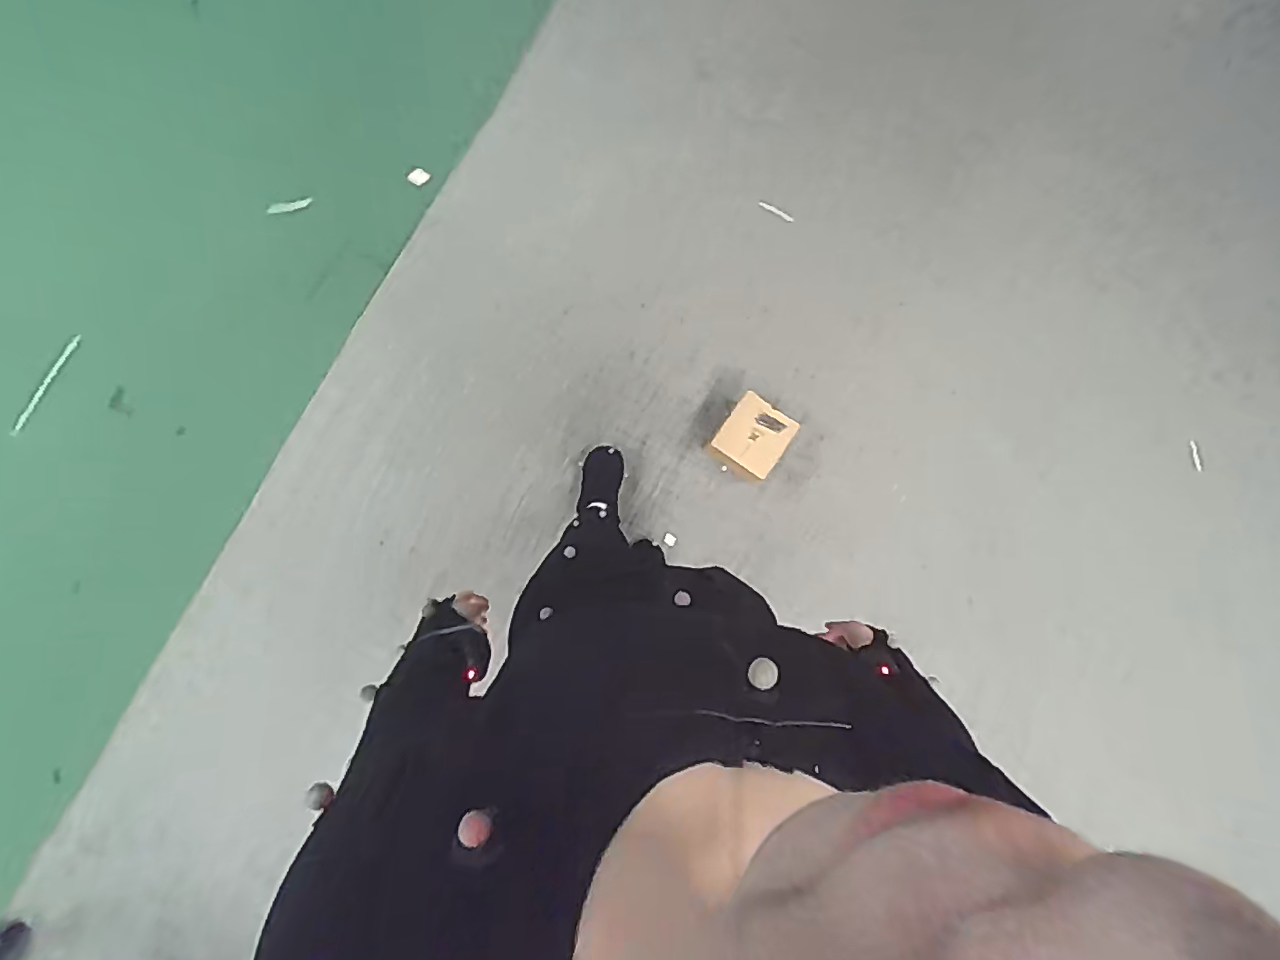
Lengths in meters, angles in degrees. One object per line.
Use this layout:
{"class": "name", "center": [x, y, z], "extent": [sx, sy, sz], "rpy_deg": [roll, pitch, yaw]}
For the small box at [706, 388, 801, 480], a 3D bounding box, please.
{"class": "small box", "center": [0.294, -0.117, 1.448], "extent": [0.168, 0.176, 0.179], "rpy_deg": [35, 87, 1]}
